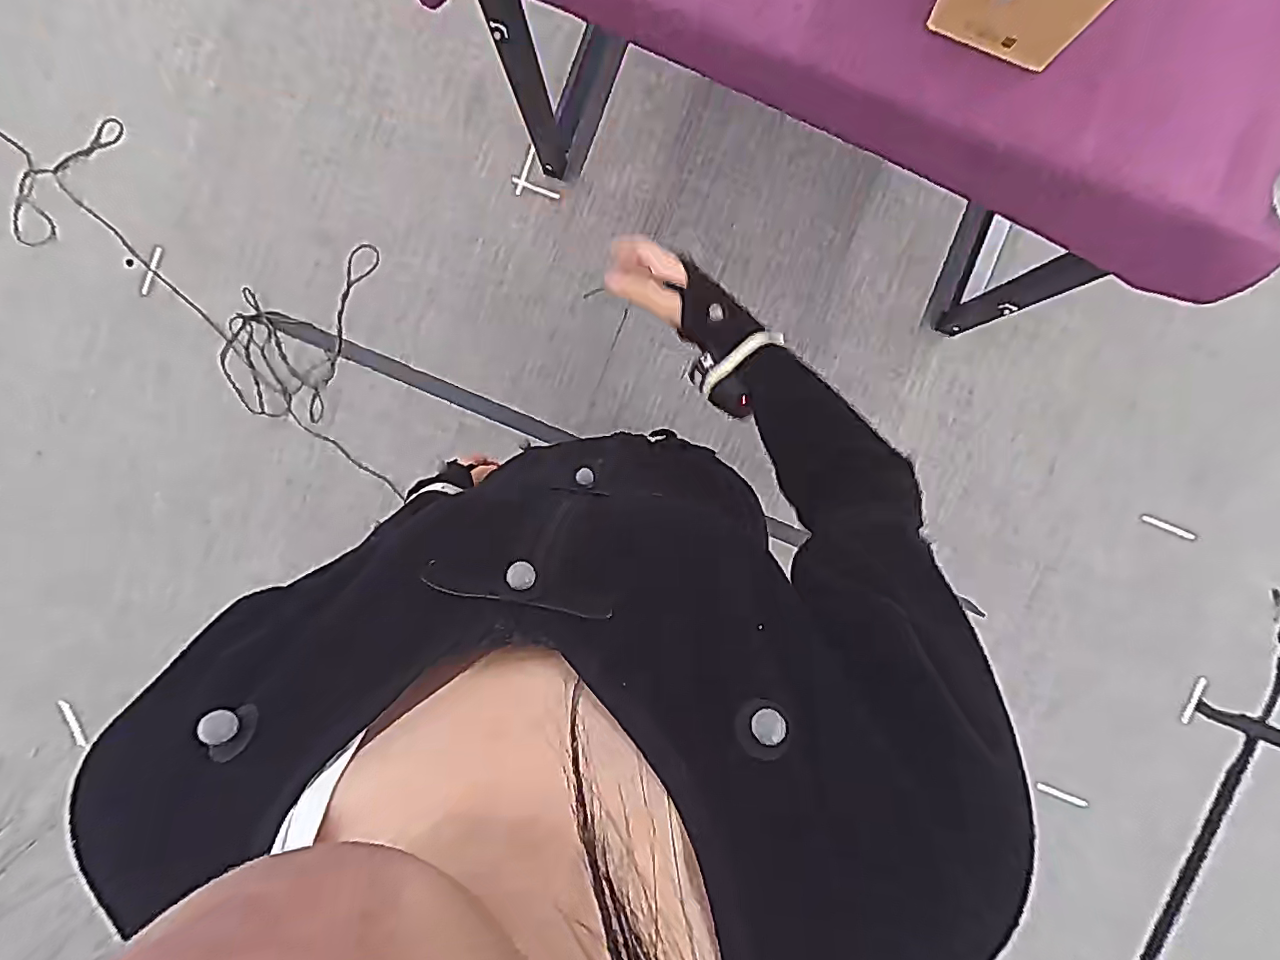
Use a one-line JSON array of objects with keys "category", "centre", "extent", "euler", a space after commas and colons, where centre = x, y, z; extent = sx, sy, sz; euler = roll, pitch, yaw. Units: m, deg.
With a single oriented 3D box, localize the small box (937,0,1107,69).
[{"category": "small box", "centre": [0.493, -0.651, 0.646], "extent": [0.168, 0.176, 0.179], "euler": [22, 92, 0]}]
